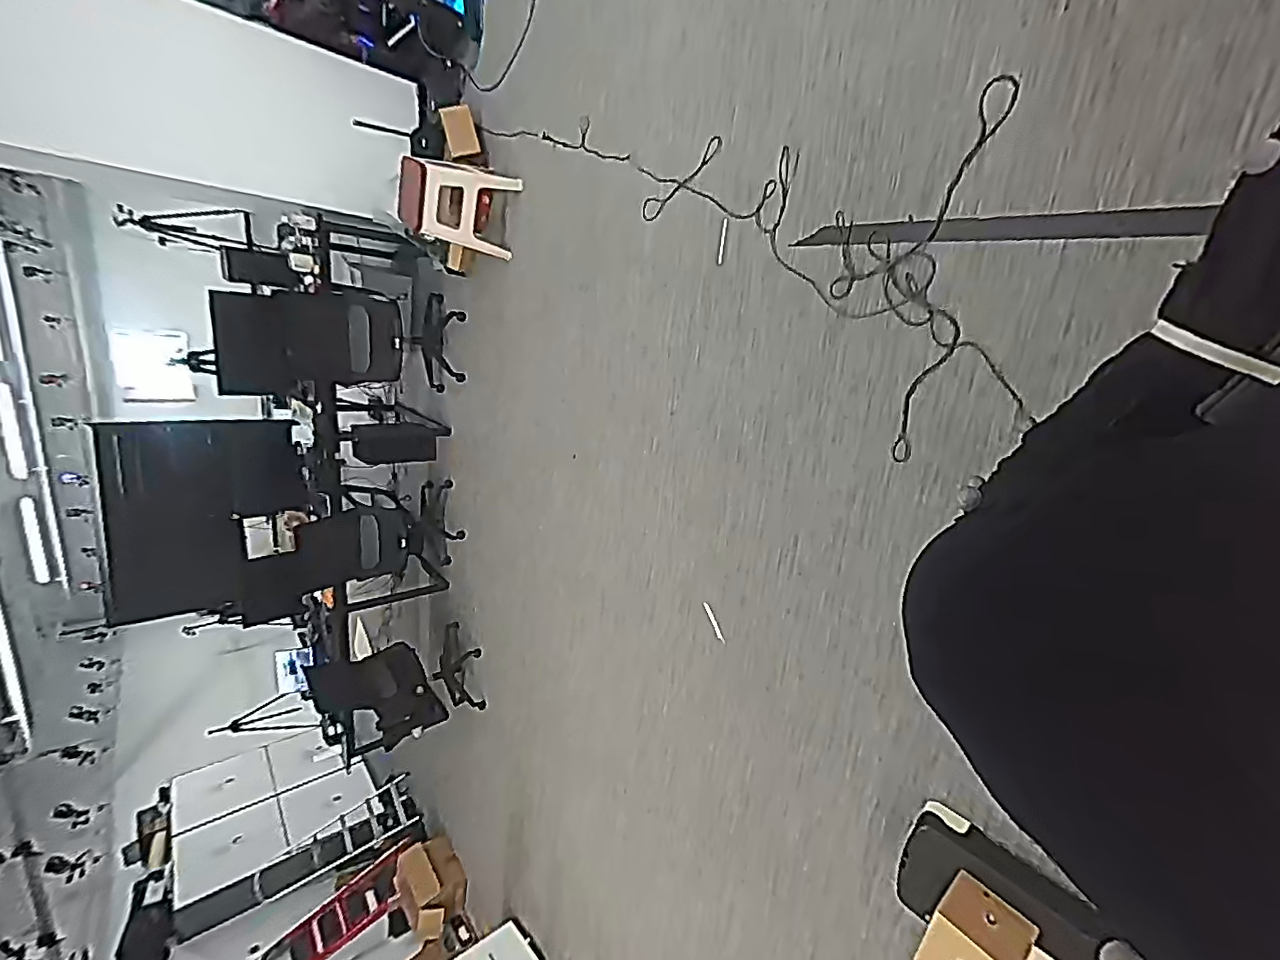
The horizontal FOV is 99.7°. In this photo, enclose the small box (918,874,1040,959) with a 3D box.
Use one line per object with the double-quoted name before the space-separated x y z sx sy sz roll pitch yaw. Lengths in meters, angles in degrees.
"small box" 0.768 1.052 1.221 0.168 0.176 0.179 28 117 44
